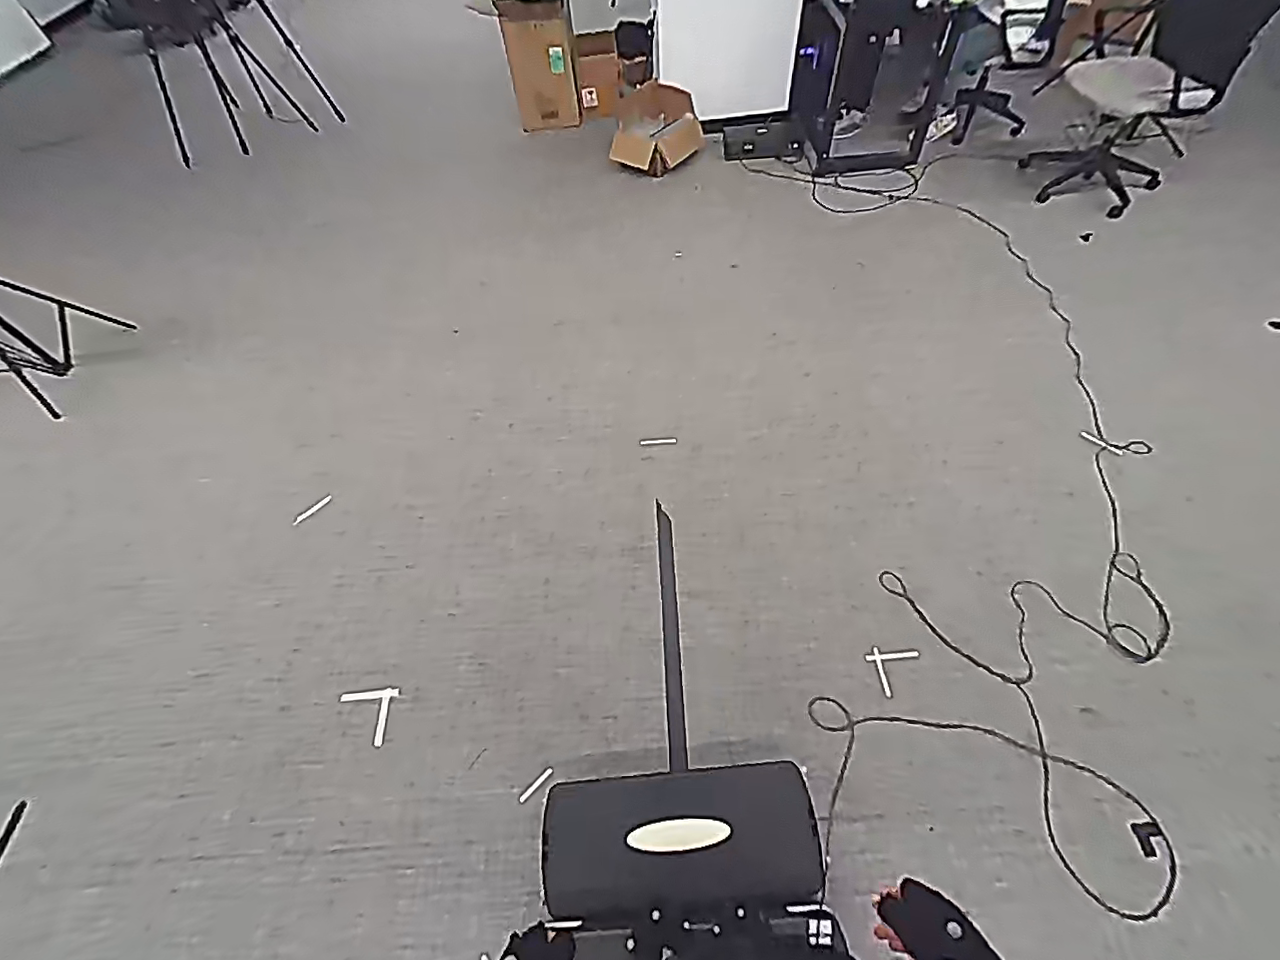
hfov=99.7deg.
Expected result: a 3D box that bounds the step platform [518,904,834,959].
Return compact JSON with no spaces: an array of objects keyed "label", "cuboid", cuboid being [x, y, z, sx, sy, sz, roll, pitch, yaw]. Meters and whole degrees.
[{"label":"step platform","cuboid":[0.078,1.096,1.128,0.684,0.204,0.286,-6,55,2]}]
